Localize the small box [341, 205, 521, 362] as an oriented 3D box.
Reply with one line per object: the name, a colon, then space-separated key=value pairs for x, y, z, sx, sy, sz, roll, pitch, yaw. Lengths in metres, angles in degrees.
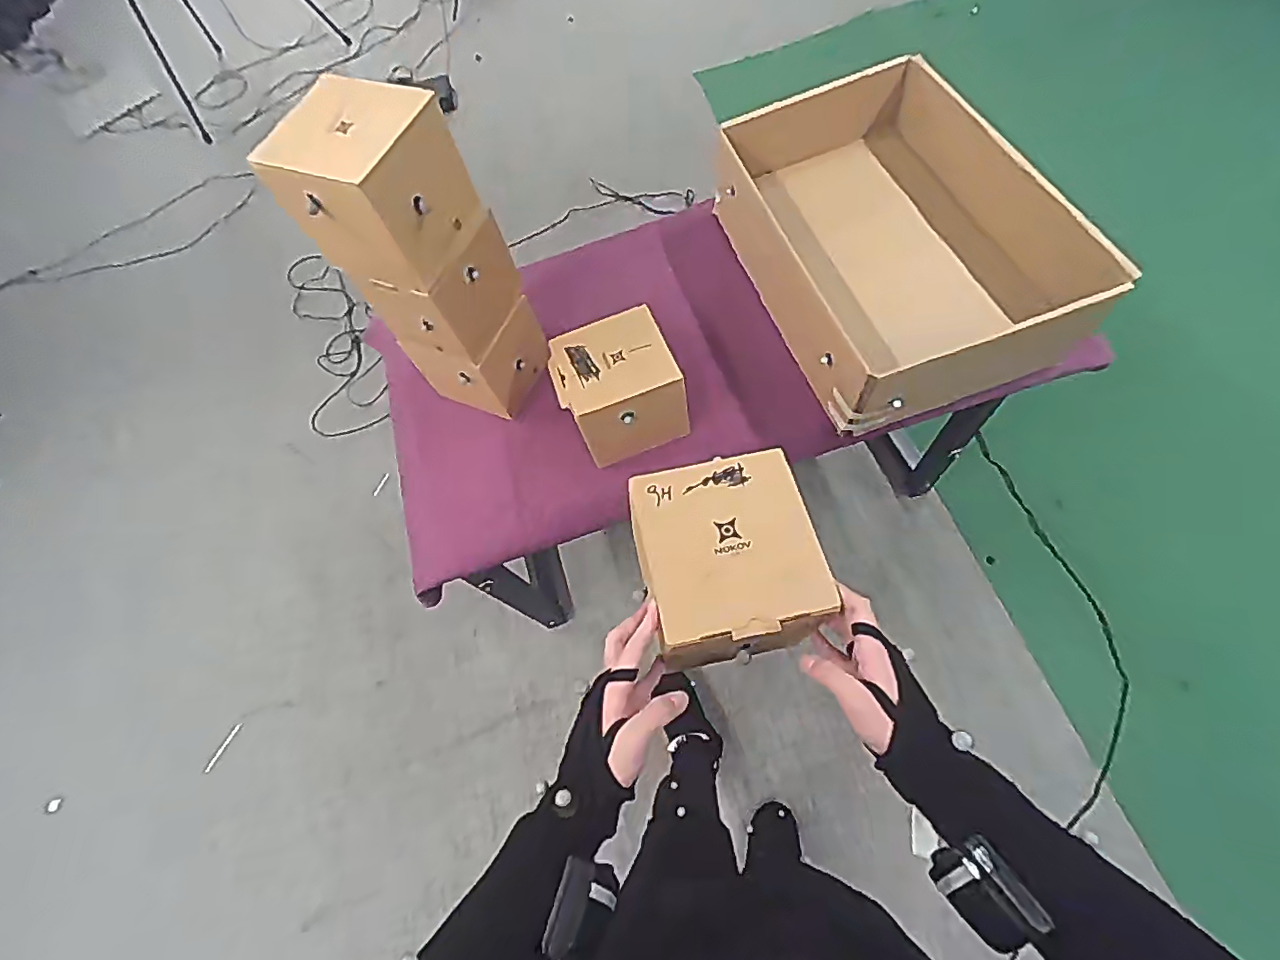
small box: x=-0.311 y=-0.316 z=0.850 sx=0.168 sy=0.176 sz=0.179 roll=21 pitch=70 yaw=15

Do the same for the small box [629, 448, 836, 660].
small box: x=0.086 y=0.091 z=0.593 sx=0.168 sy=0.176 sz=0.179 roll=-11 pitch=64 yaw=-5

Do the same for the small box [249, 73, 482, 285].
small box: x=-0.337 y=-0.382 z=0.705 sx=0.179 sy=0.176 sz=0.168 roll=19 pitch=70 yaw=15

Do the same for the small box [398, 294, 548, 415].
small box: x=-0.294 y=-0.243 z=0.995 sx=0.179 sy=0.176 sz=0.168 roll=20 pitch=69 yaw=17

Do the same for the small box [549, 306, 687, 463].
small box: x=-0.031 y=-0.153 z=0.912 sx=0.179 sy=0.176 sz=0.168 roll=-21 pitch=63 yaw=-2
